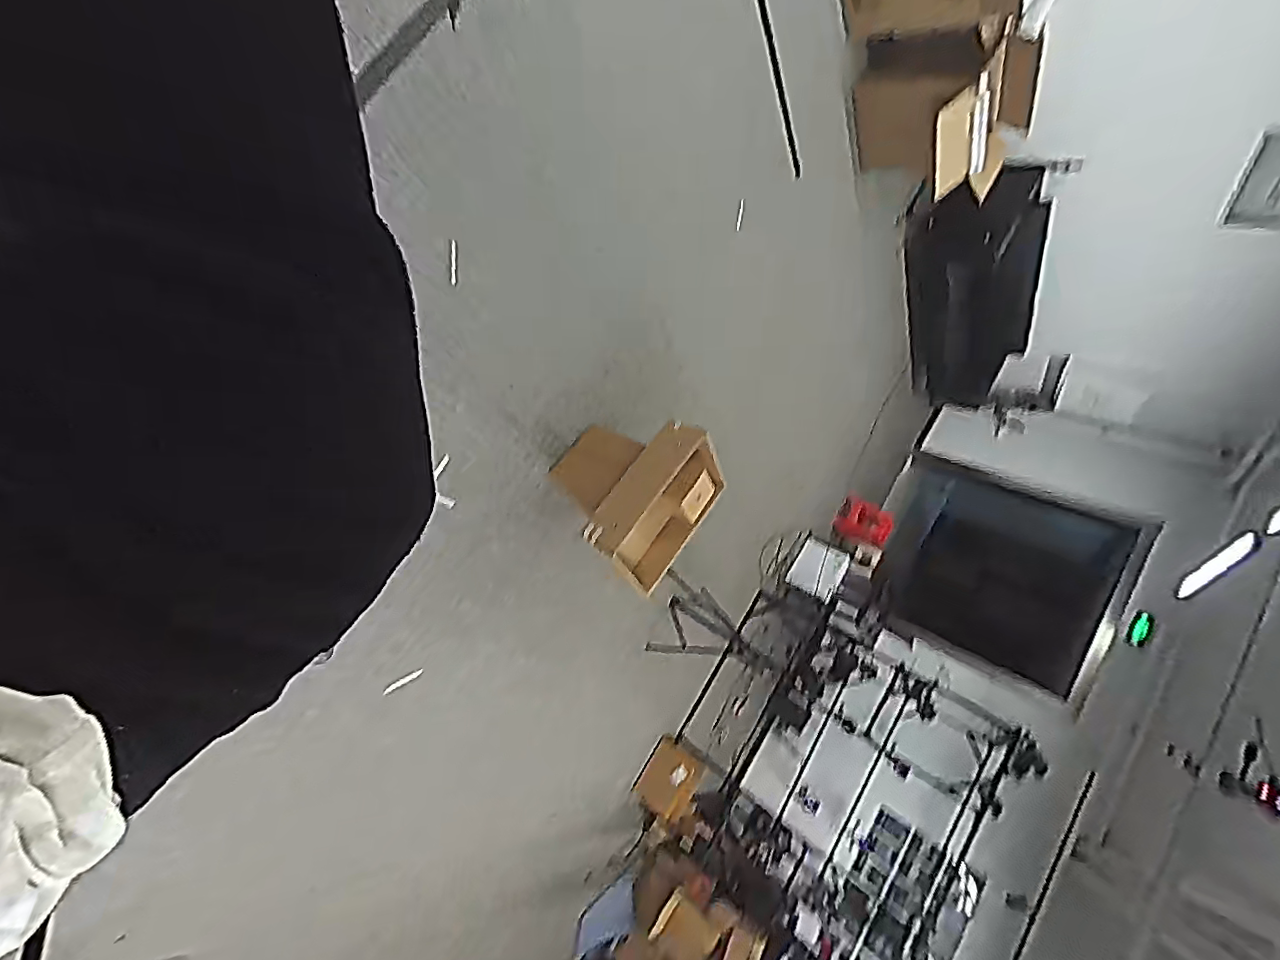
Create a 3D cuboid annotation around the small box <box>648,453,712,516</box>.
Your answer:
[{"bbox_3d":[0.164,0.014,2.224,0.179,0.176,0.168,-54,144,-14],"label":"small box"}]
